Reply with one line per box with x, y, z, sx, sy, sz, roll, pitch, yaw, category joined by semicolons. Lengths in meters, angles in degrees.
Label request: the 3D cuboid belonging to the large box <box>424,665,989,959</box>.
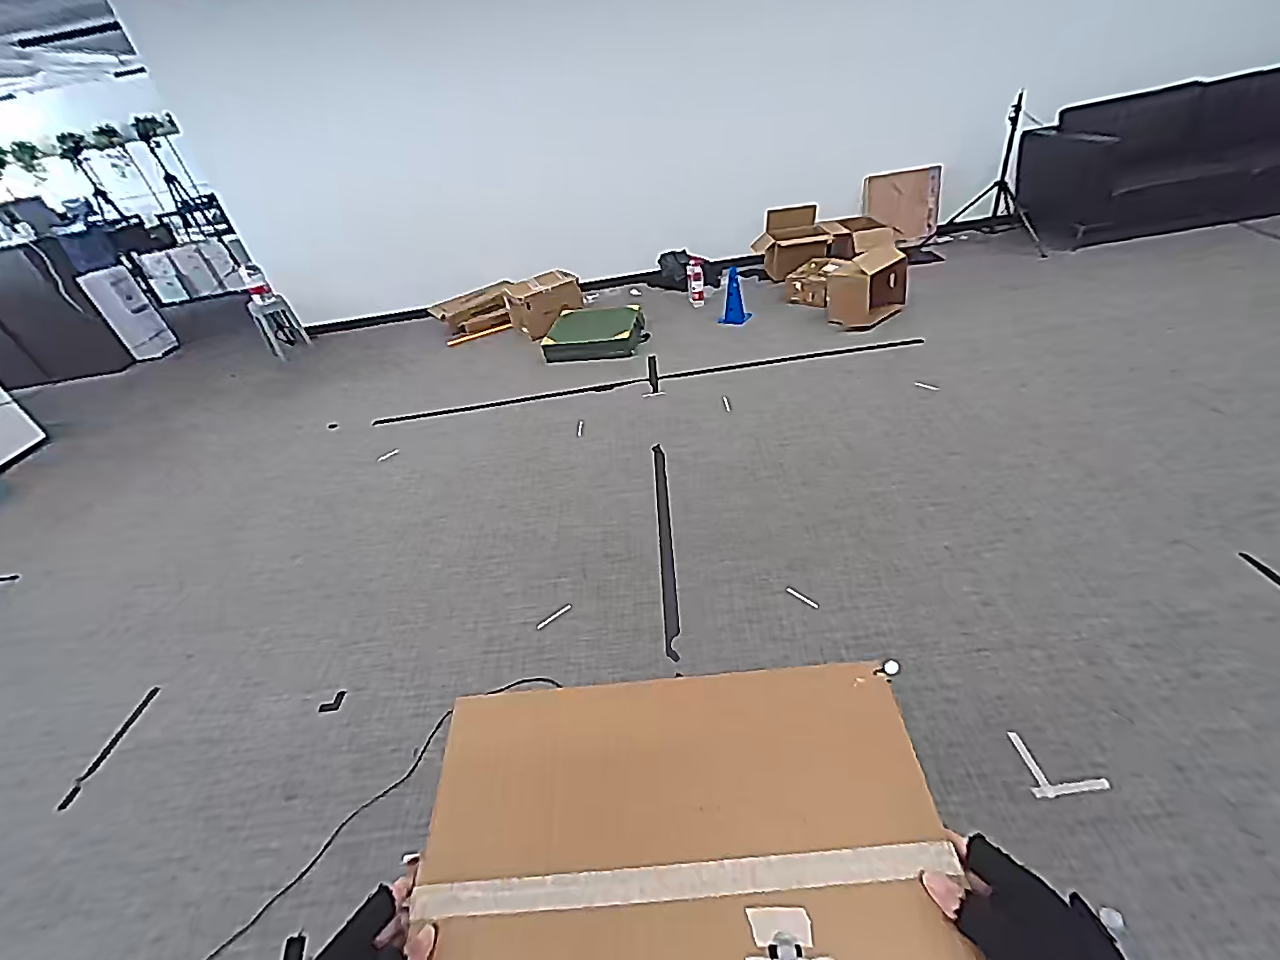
0.049;0.411;0.518;0.408;0.320;0.320;-6;45;1;large box
